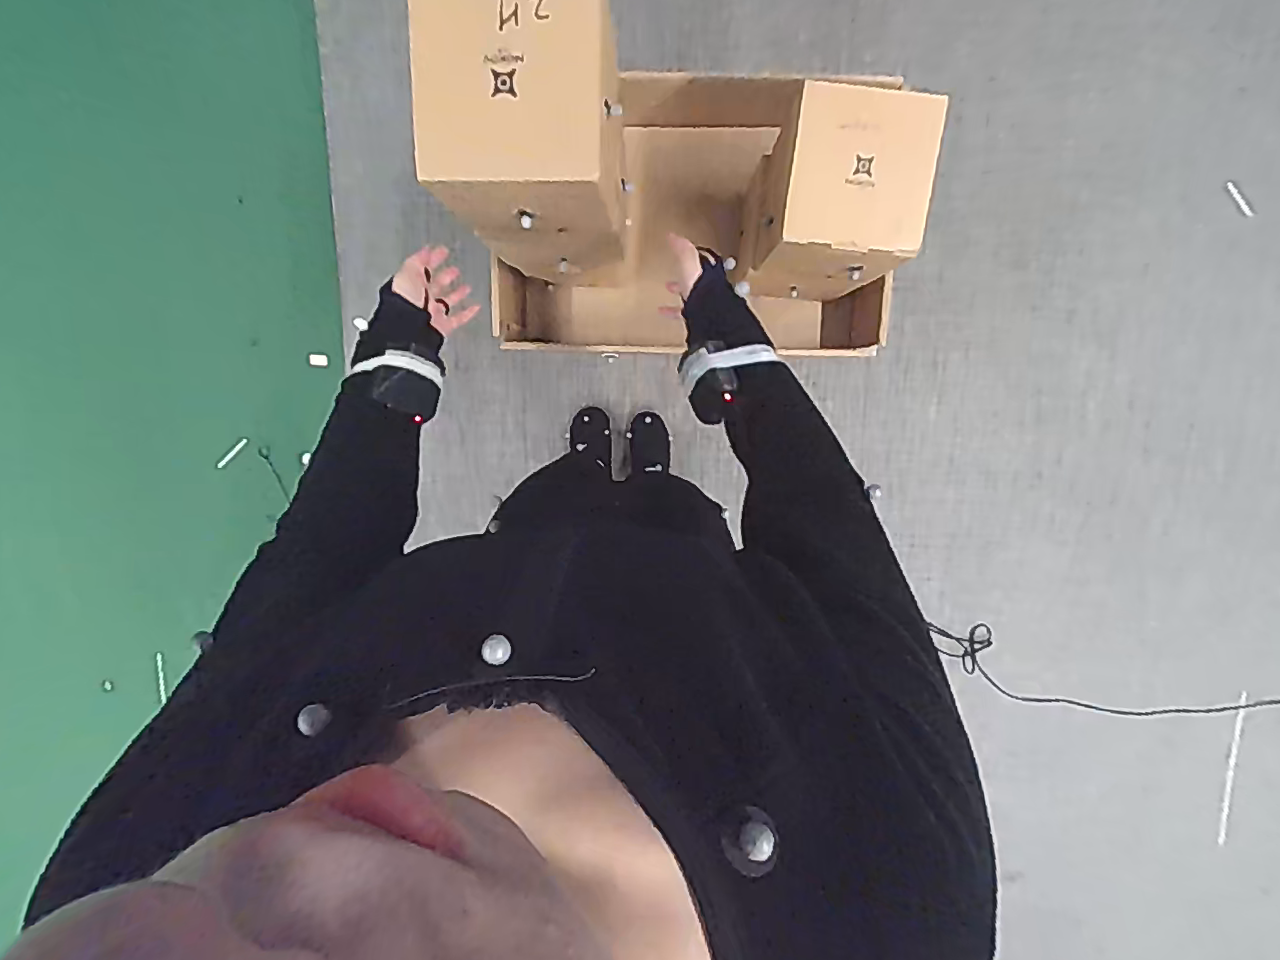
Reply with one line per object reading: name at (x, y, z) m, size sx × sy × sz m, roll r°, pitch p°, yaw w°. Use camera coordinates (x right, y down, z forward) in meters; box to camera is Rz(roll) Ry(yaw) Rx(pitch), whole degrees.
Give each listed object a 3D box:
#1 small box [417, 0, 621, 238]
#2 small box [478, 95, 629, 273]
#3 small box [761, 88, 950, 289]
small box at (-0.109, -0.358, 0.550) m, size 0.168 × 0.176 × 0.179 m, roll 2°, pitch 98°, yaw 2°
small box at (-0.105, -0.379, 0.714) m, size 0.179 × 0.176 × 0.168 m, roll 1°, pitch 98°, yaw 2°
small box at (0.261, -0.359, 0.700) m, size 0.168 × 0.176 × 0.179 m, roll 8°, pitch 98°, yaw 0°
